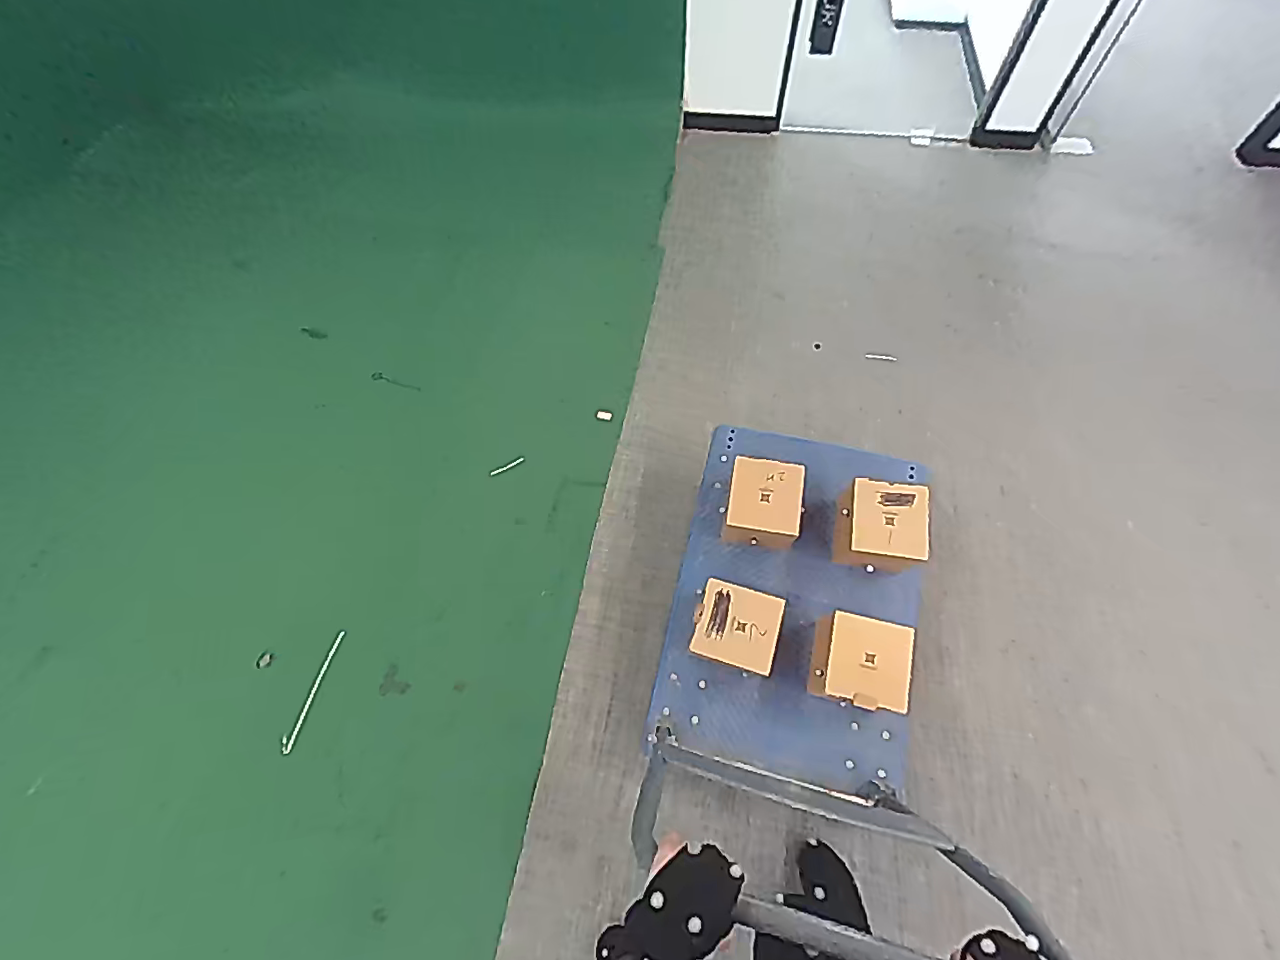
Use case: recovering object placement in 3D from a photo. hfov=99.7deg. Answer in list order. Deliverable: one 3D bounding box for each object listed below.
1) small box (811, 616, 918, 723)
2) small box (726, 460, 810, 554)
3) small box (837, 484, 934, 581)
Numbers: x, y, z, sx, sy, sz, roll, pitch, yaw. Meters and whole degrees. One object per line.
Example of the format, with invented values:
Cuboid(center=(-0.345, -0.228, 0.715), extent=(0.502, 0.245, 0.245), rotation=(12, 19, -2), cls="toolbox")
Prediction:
Cuboid(center=(0.486, 0.414, 1.189), extent=(0.168, 0.176, 0.179), rotation=(13, 72, 9), cls="small box")
Cuboid(center=(0.307, 0.074, 1.327), extent=(0.168, 0.176, 0.179), rotation=(10, 71, 7), cls="small box")
Cuboid(center=(0.578, 0.128, 1.287), extent=(0.168, 0.176, 0.179), rotation=(9, 71, 8), cls="small box")
